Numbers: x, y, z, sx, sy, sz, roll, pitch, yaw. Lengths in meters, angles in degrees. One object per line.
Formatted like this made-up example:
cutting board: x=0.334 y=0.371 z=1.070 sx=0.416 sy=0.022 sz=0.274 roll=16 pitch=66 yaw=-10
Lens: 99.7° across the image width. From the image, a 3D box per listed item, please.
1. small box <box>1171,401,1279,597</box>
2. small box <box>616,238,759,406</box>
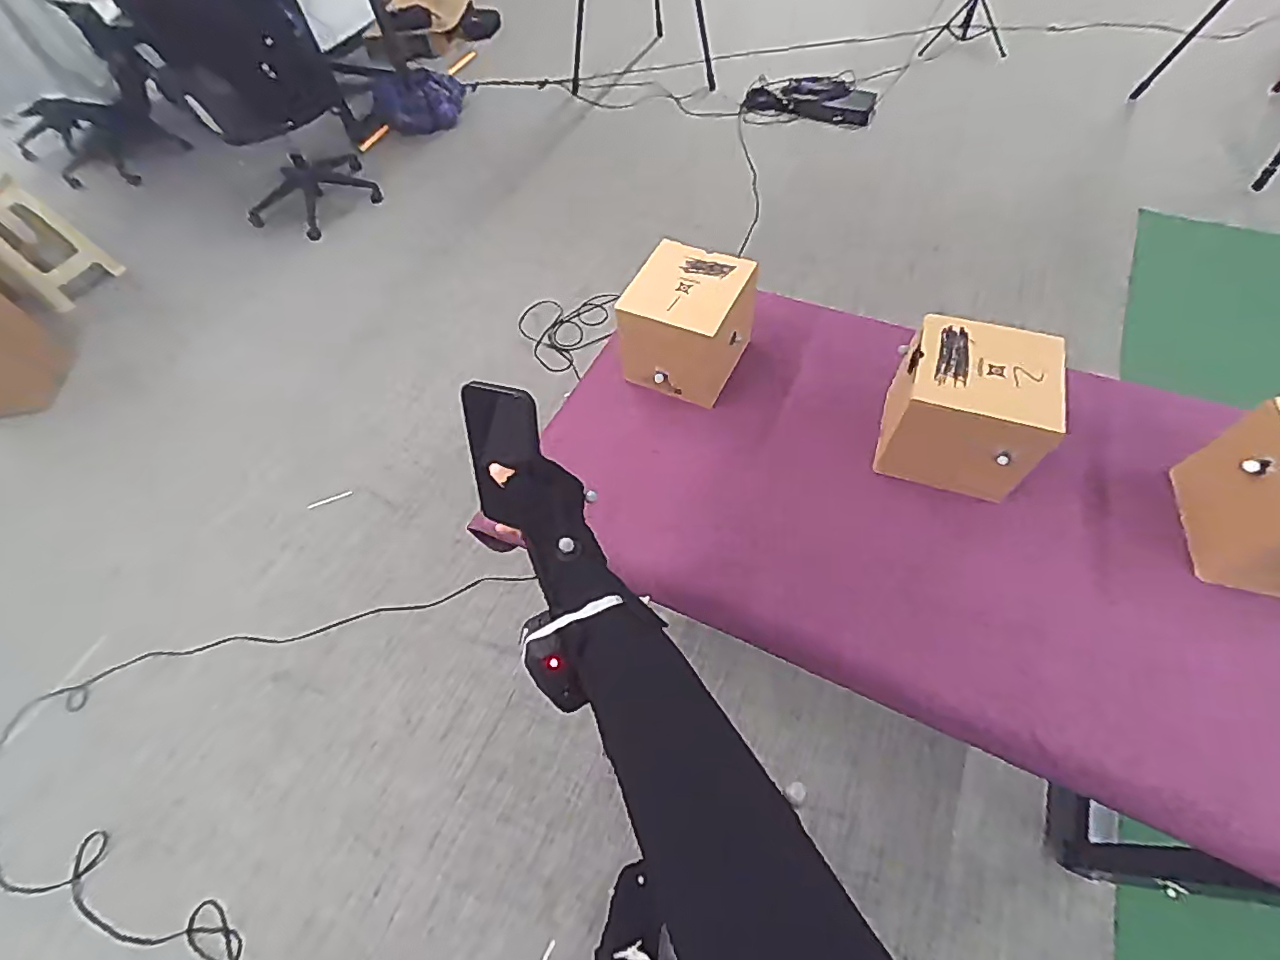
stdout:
small box: x=0.799 y=0.036 z=0.643 sx=0.168 sy=0.176 sz=0.179 roll=12 pitch=59 yaw=13
small box: x=0.078 y=-0.255 z=0.885 sx=0.168 sy=0.176 sz=0.179 roll=22 pitch=64 yaw=18
